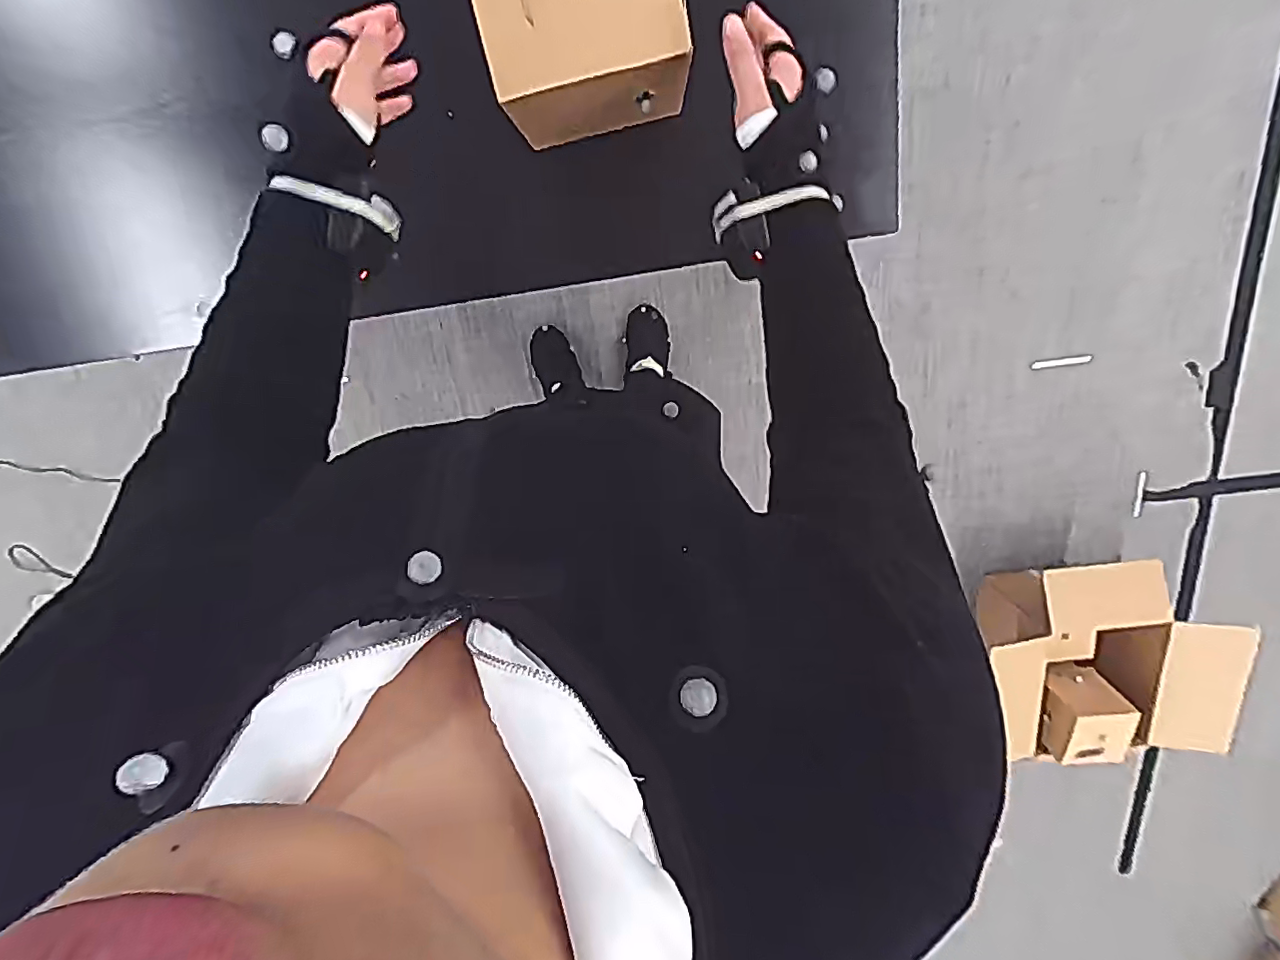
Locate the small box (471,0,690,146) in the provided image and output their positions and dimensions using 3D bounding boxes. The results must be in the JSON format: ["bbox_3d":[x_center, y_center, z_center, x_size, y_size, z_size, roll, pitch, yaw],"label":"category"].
[{"bbox_3d":[-0.057,-0.449,0.518,0.179,0.176,0.168,-12,108,5],"label":"small box"}]
